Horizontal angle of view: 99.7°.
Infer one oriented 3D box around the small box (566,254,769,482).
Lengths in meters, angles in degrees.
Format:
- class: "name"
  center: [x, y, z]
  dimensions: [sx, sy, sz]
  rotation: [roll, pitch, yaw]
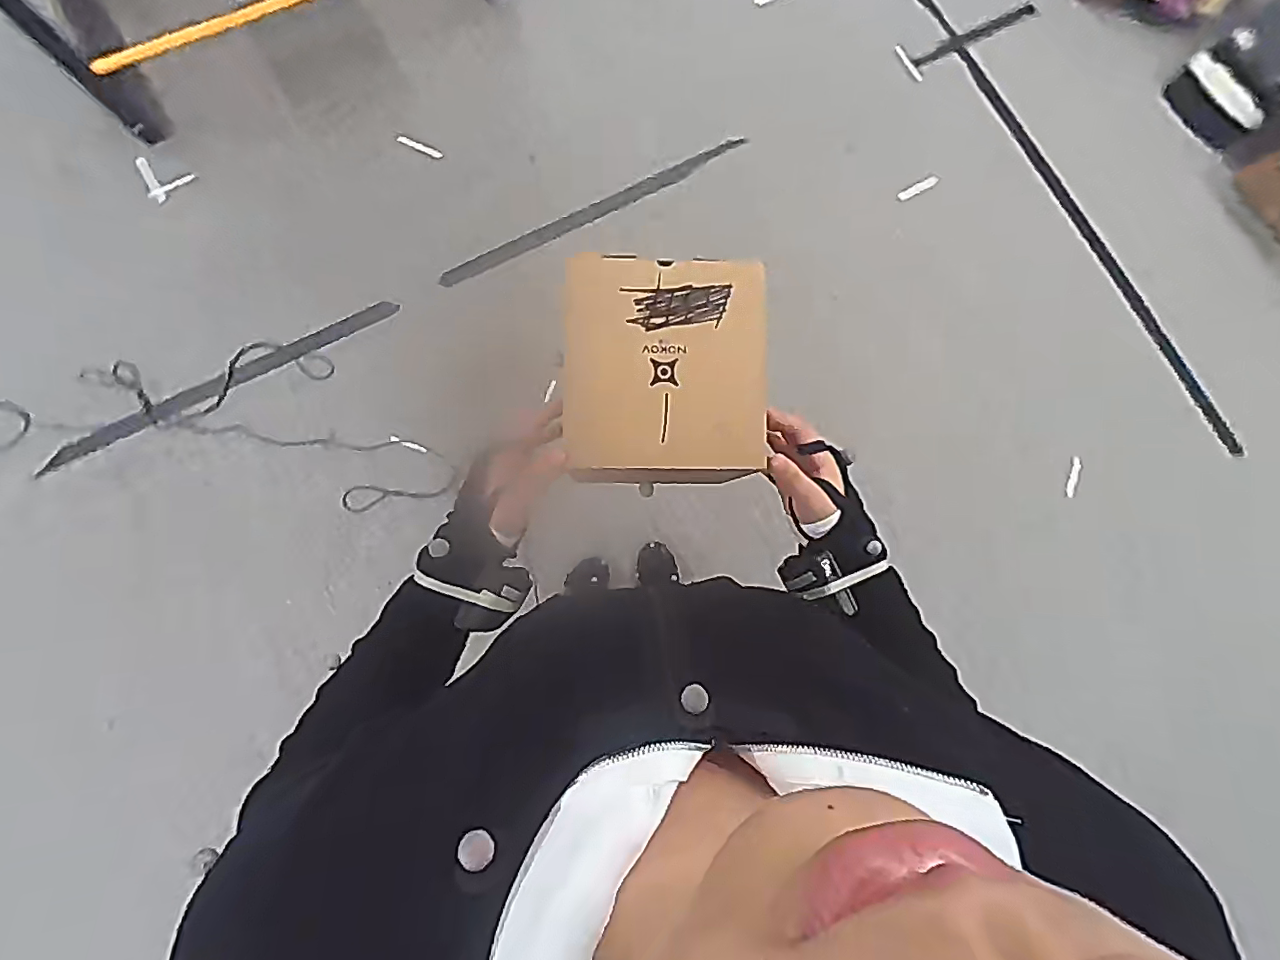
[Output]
- class: "small box"
  center: [0.017, -0.091, 0.516]
  dimensions: [0.168, 0.176, 0.179]
  rotation: [-1, 86, -3]
